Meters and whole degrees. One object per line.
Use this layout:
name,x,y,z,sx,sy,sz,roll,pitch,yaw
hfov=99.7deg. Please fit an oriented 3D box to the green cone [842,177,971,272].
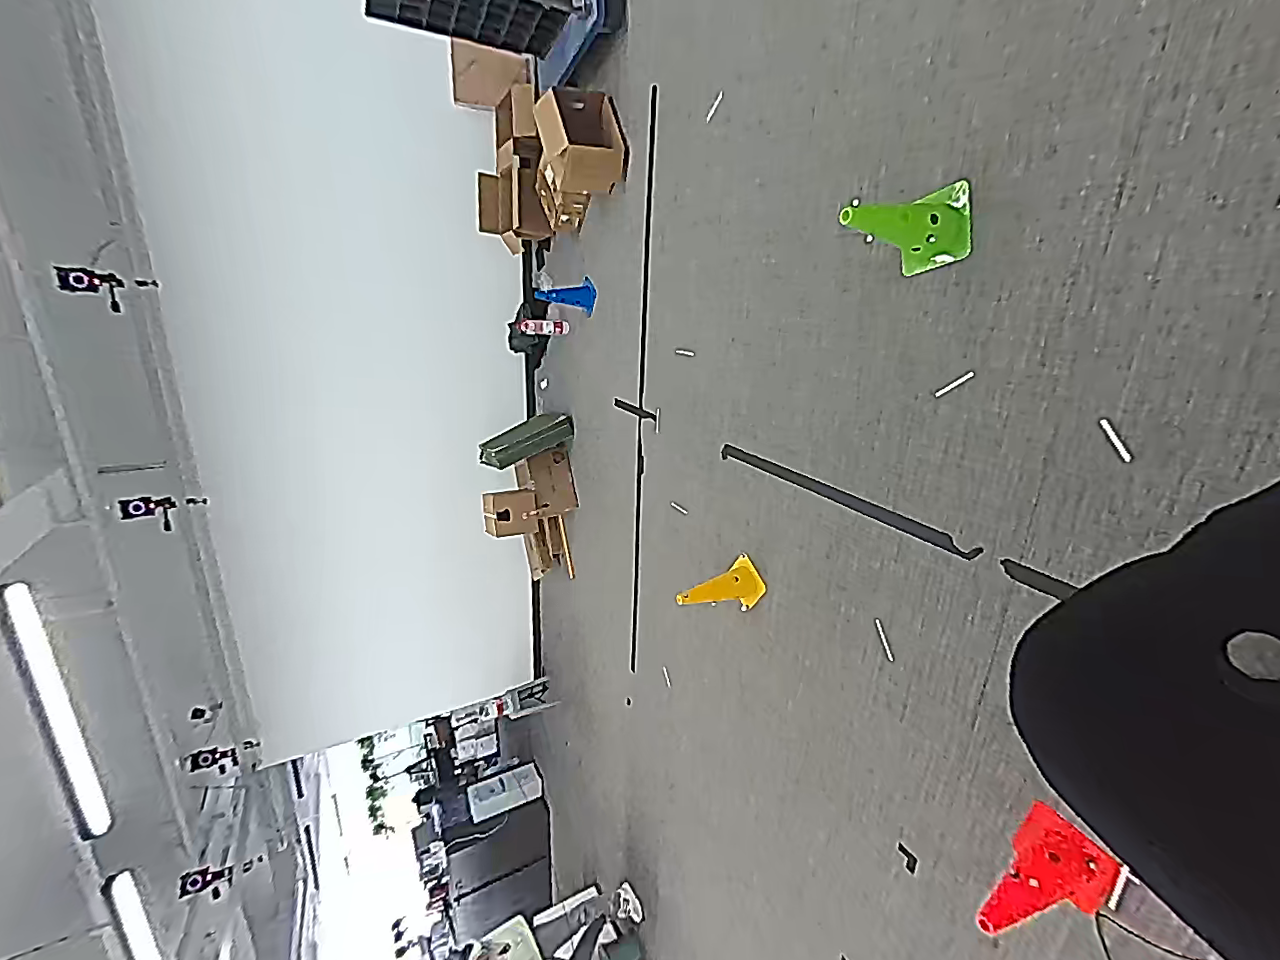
green cone,0.661,-0.675,1.409,0.202,0.368,0.200,3,100,61

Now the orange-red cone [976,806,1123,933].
orange-red cone,0.934,0.988,1.306,0.199,0.360,0.198,43,133,52
